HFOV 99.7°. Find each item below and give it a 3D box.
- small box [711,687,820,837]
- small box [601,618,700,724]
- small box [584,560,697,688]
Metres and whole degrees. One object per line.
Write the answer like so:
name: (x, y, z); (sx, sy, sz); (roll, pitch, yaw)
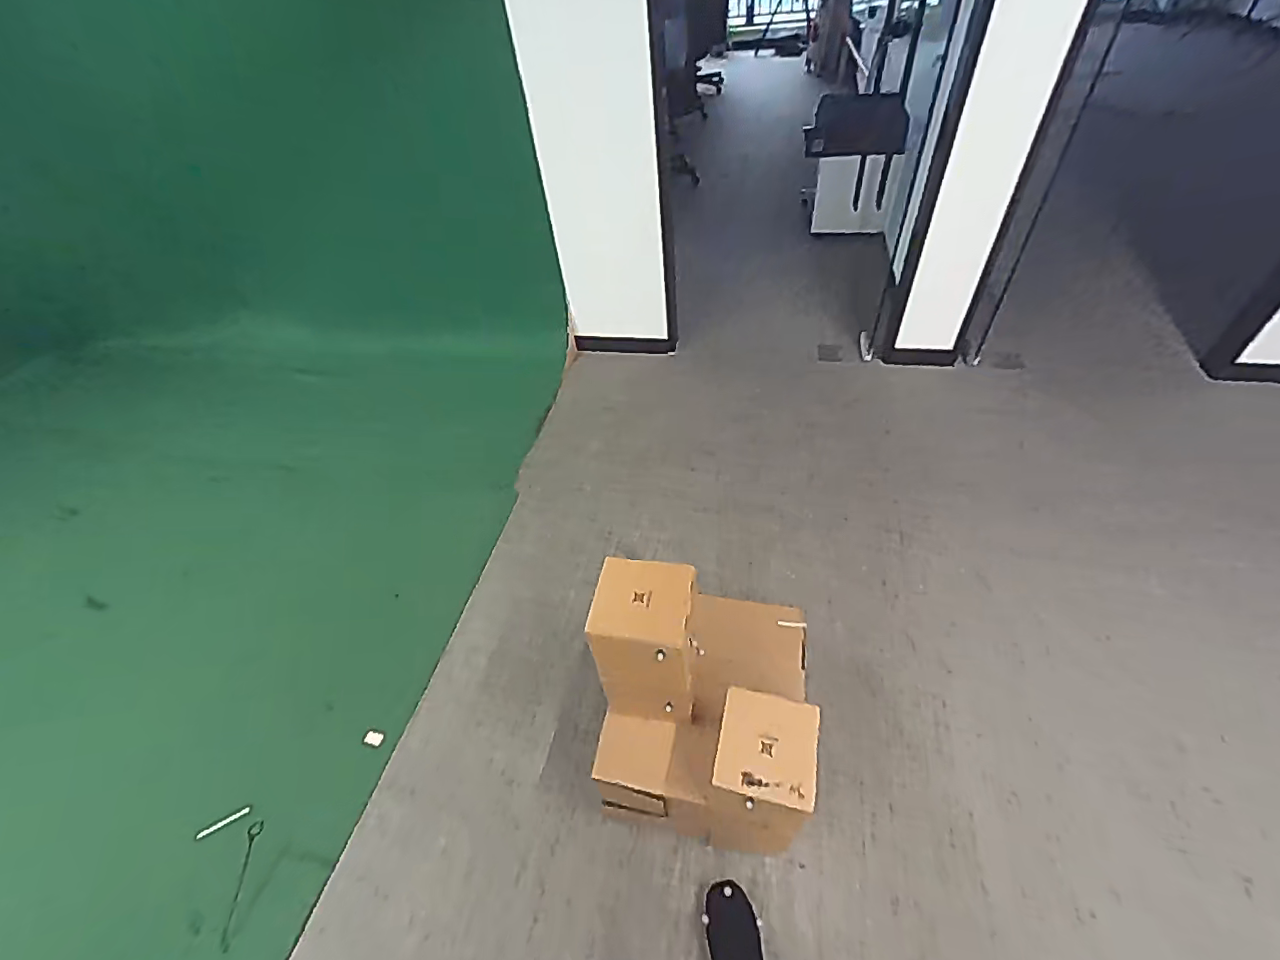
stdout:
small box: (0.225, 0.513, 0.985); (0.168, 0.176, 0.179); (9, 47, 15)
small box: (0.031, 0.391, 1.133); (0.179, 0.176, 0.168); (3, 45, 12)
small box: (0.010, 0.273, 1.022); (0.179, 0.176, 0.168); (5, 45, 11)
